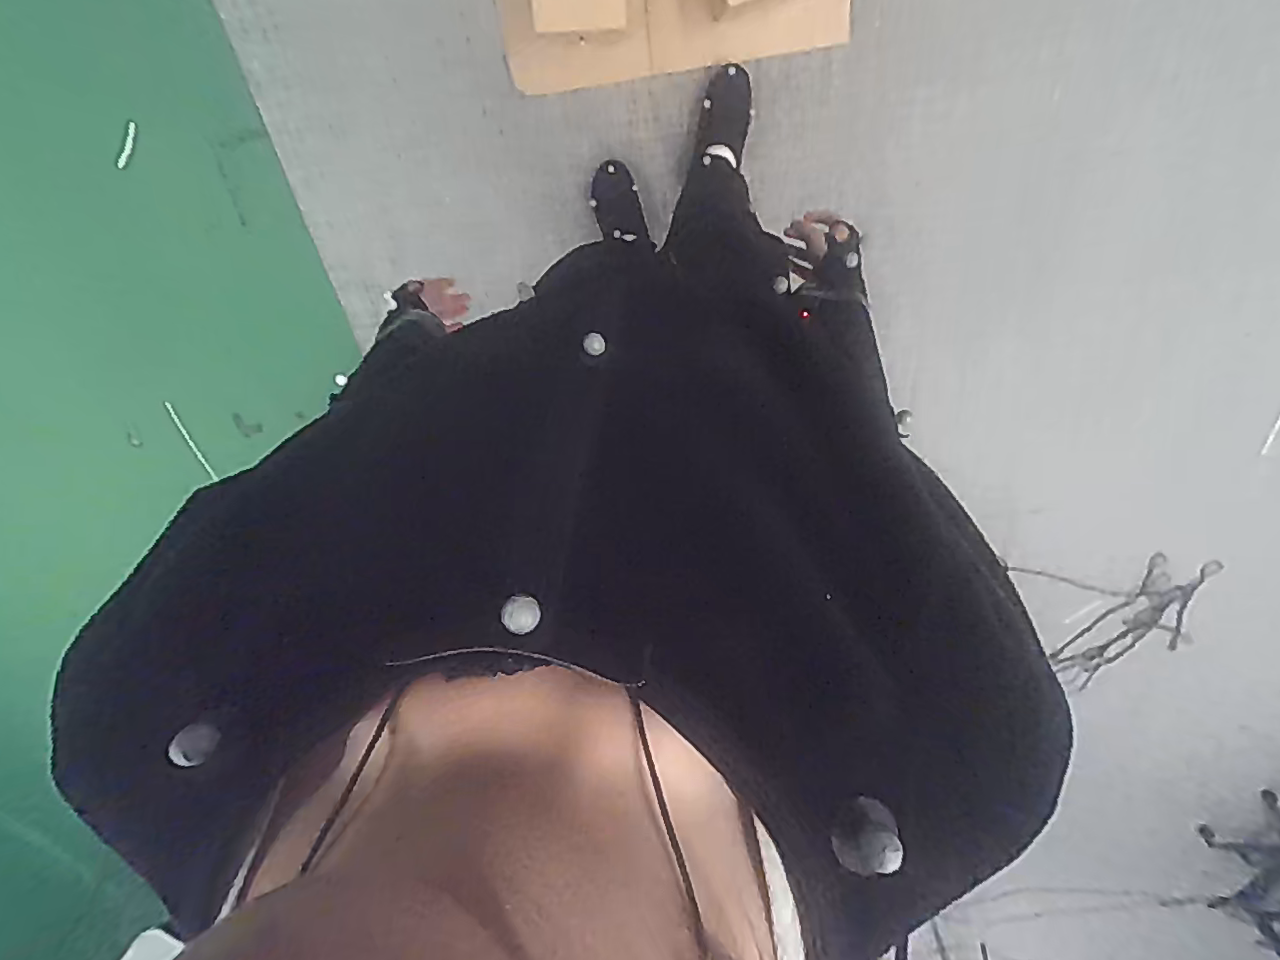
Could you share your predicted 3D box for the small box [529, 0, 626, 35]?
[{"bbox_3d":[-0.113,-0.924,0.977,0.168,0.176,0.179,-2,123,1],"label":"small box"}]
